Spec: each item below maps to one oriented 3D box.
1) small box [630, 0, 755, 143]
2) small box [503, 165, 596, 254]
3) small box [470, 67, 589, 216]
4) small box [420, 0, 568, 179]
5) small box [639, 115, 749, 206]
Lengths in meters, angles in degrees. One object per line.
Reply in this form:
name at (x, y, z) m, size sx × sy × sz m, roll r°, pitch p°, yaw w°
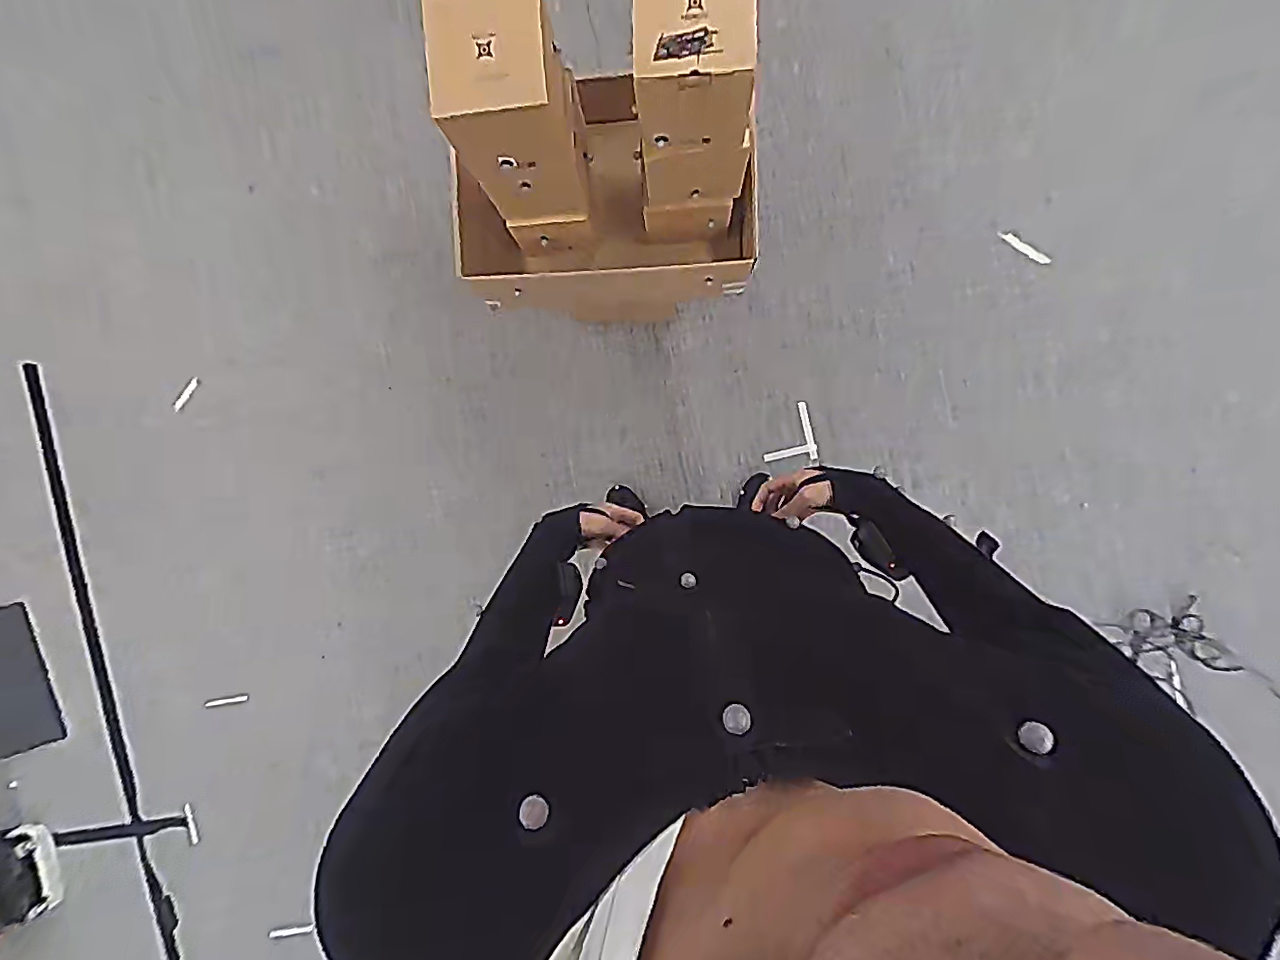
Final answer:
small box at (0.075, -0.616, 0.783) m, size 0.168 × 0.176 × 0.179 m, roll 0°, pitch 91°, yaw 4°
small box at (-0.187, -0.591, 1.135) m, size 0.168 × 0.176 × 0.179 m, roll -4°, pitch 91°, yaw 3°
small box at (-0.193, -0.594, 0.971) m, size 0.179 × 0.176 × 0.168 m, roll -2°, pitch 92°, yaw 3°
small box at (-0.208, -0.588, 0.808) m, size 0.168 × 0.176 × 0.179 m, roll -4°, pitch 91°, yaw 4°
small box at (0.088, -0.607, 0.949) m, size 0.179 × 0.176 × 0.168 m, roll -4°, pitch 91°, yaw 5°
